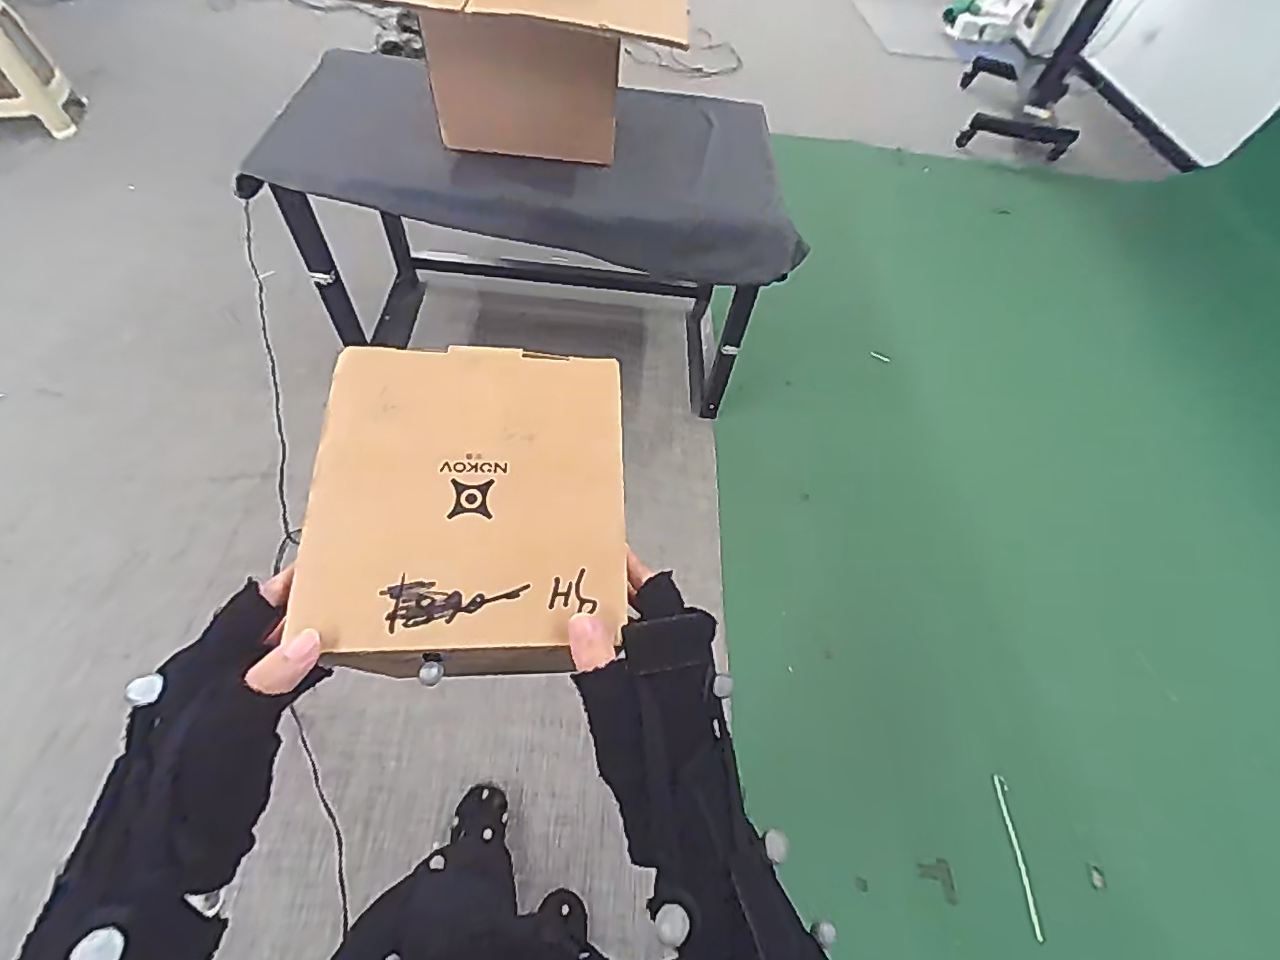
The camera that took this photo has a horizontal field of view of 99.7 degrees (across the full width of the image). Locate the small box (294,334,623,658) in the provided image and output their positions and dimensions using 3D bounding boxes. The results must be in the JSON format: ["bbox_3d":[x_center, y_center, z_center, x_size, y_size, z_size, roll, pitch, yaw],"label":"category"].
[{"bbox_3d":[-0.104,0.024,0.382,0.168,0.176,0.179,1,66,-8],"label":"small box"}]
